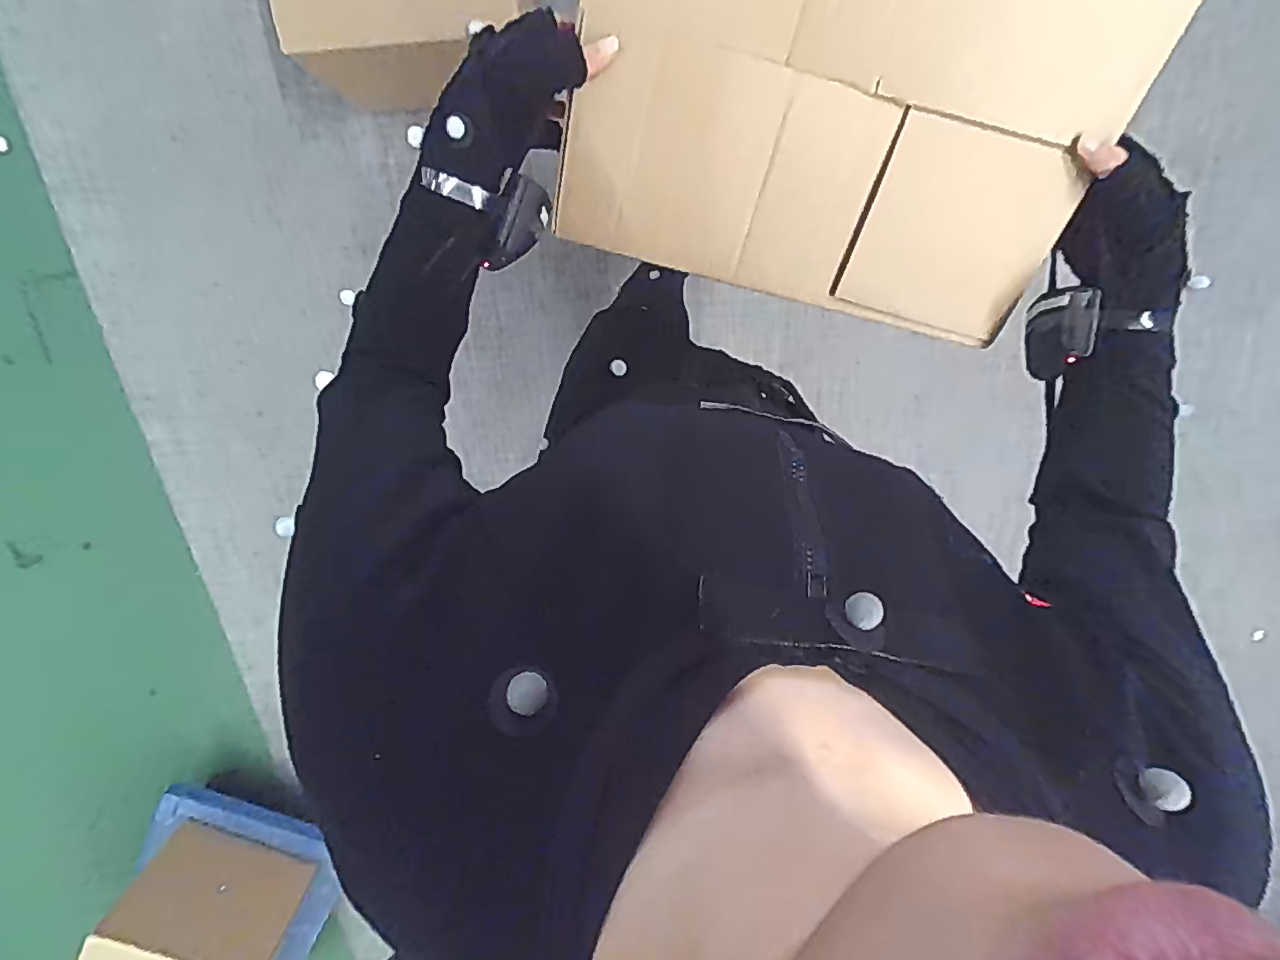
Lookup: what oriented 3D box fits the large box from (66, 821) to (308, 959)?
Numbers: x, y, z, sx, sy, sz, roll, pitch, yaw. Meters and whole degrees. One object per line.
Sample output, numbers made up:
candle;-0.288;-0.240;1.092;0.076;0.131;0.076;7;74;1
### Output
large box;-1.234;1.230;1.483;0.408;0.320;0.320;29;105;-11
